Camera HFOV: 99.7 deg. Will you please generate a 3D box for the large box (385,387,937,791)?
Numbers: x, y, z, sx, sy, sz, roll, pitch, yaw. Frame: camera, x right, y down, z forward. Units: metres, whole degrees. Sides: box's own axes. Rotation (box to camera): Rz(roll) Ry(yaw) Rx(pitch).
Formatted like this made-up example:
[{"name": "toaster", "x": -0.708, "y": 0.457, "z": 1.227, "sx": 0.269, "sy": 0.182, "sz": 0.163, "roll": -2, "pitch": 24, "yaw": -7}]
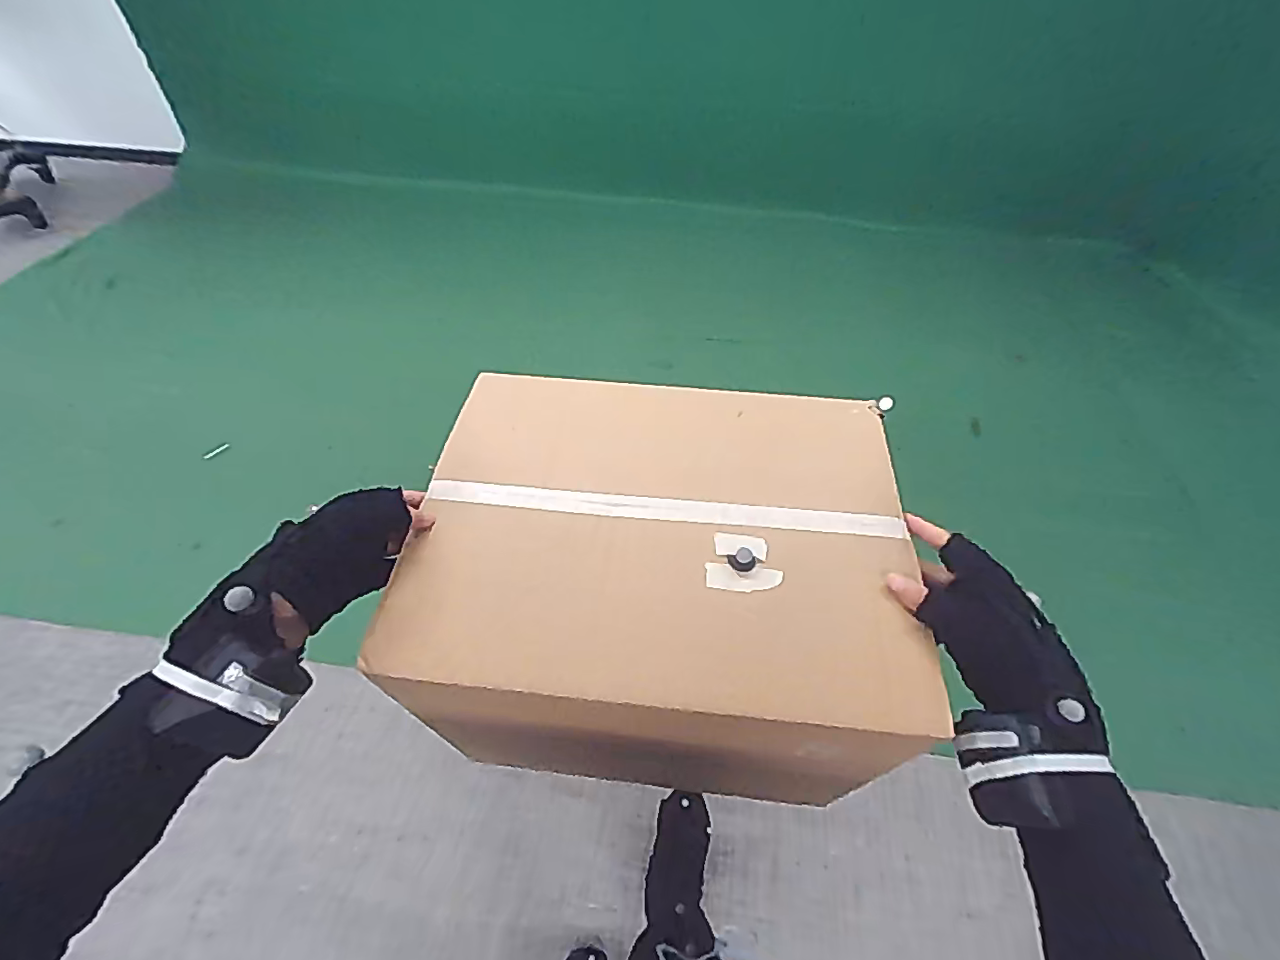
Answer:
[{"name": "large box", "x": 0.021, "y": 0.124, "z": 0.589, "sx": 0.408, "sy": 0.320, "sz": 0.320, "roll": 4, "pitch": 53, "yaw": 4}]
